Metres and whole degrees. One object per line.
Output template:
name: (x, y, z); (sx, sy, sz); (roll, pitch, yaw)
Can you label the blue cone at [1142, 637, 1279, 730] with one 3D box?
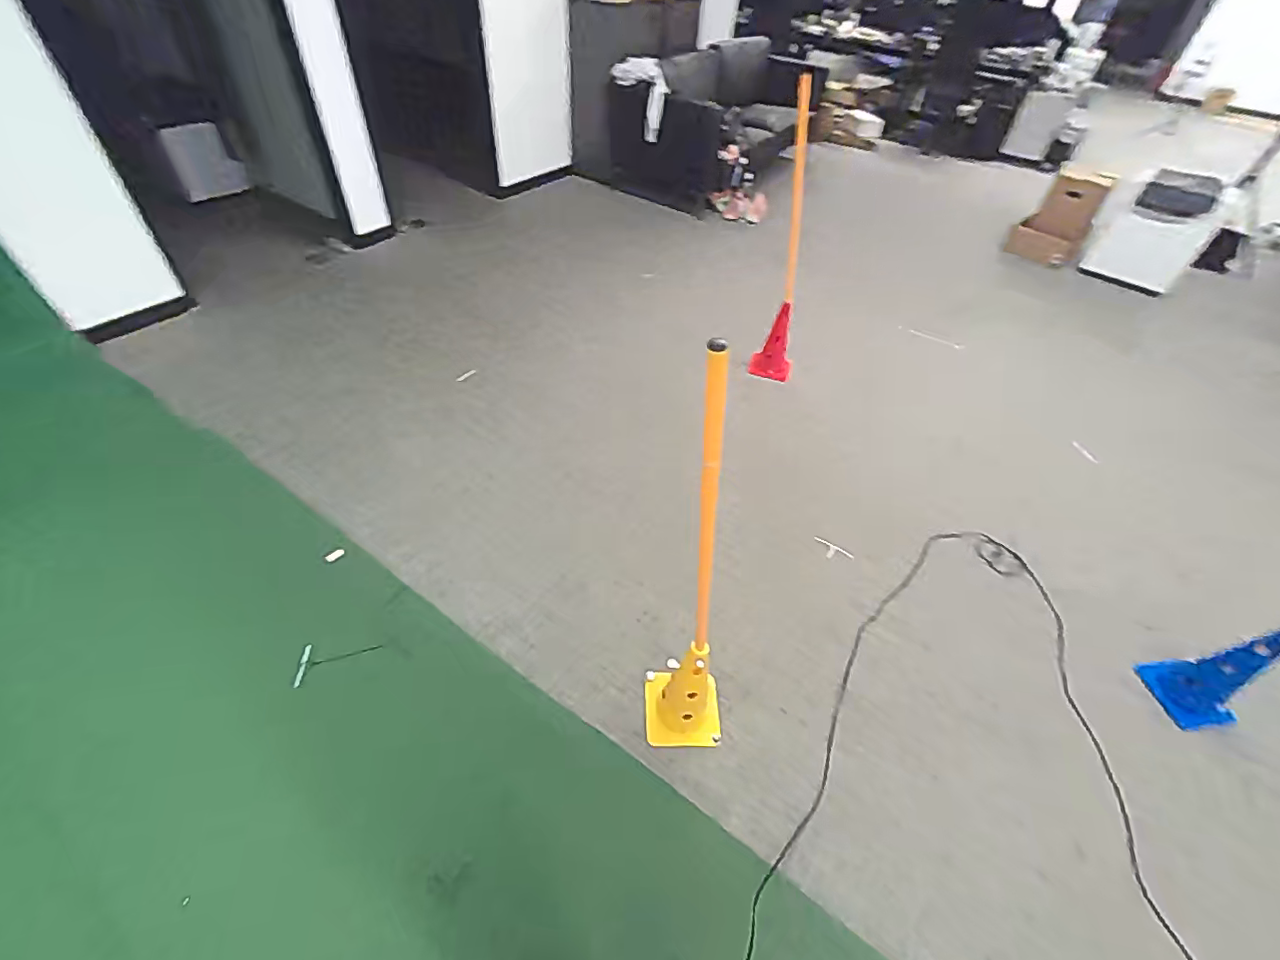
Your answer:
blue cone: (1.647, 0.524, 1.499); (0.193, 0.380, 0.192); (-3, 45, -11)
